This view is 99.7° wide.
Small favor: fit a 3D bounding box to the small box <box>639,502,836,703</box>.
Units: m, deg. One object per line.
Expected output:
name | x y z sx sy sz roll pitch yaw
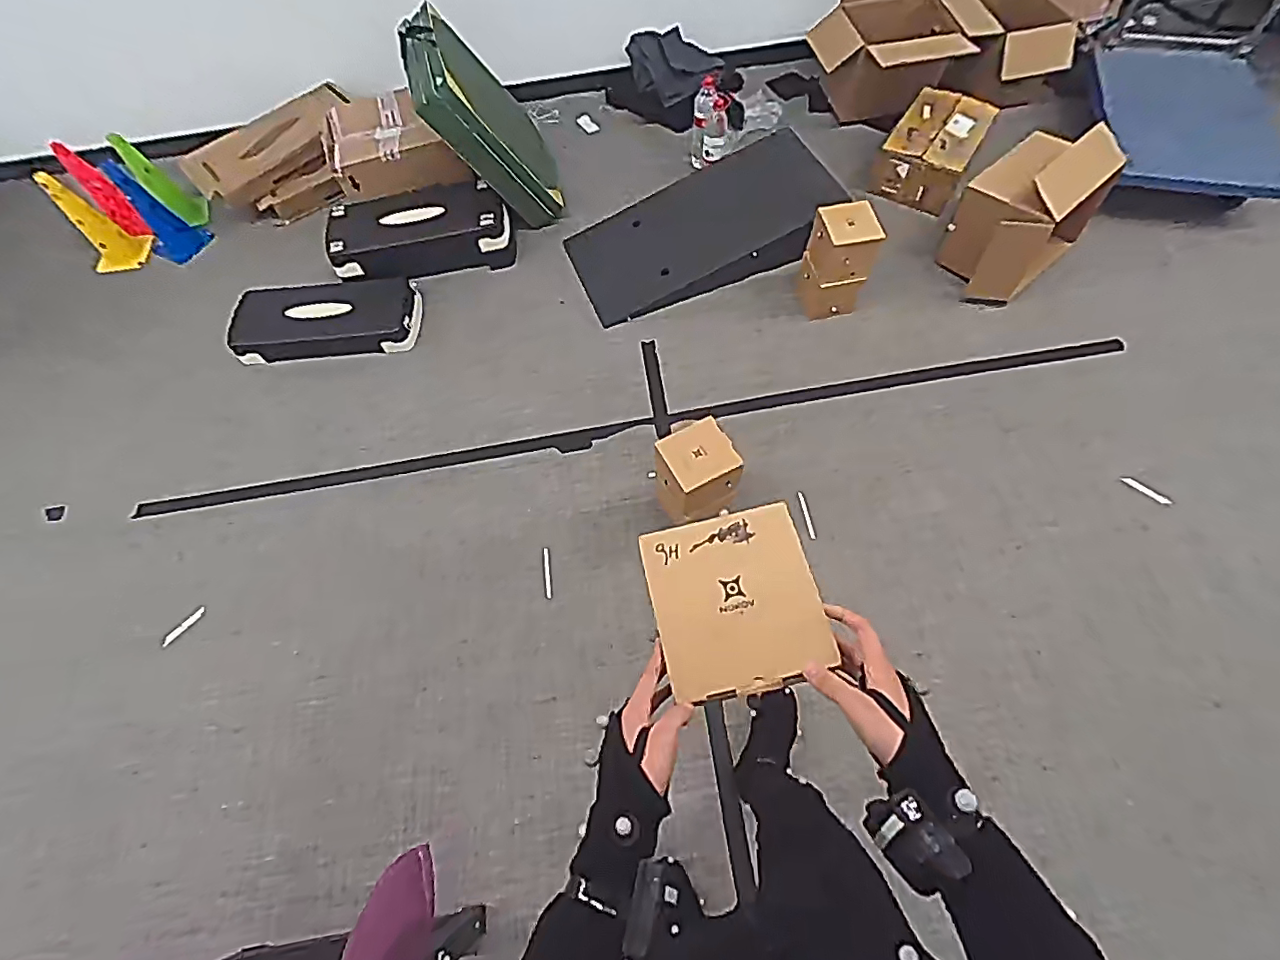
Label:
small box | 0.103 0.149 0.625 0.168 0.176 0.179 -14 66 0
